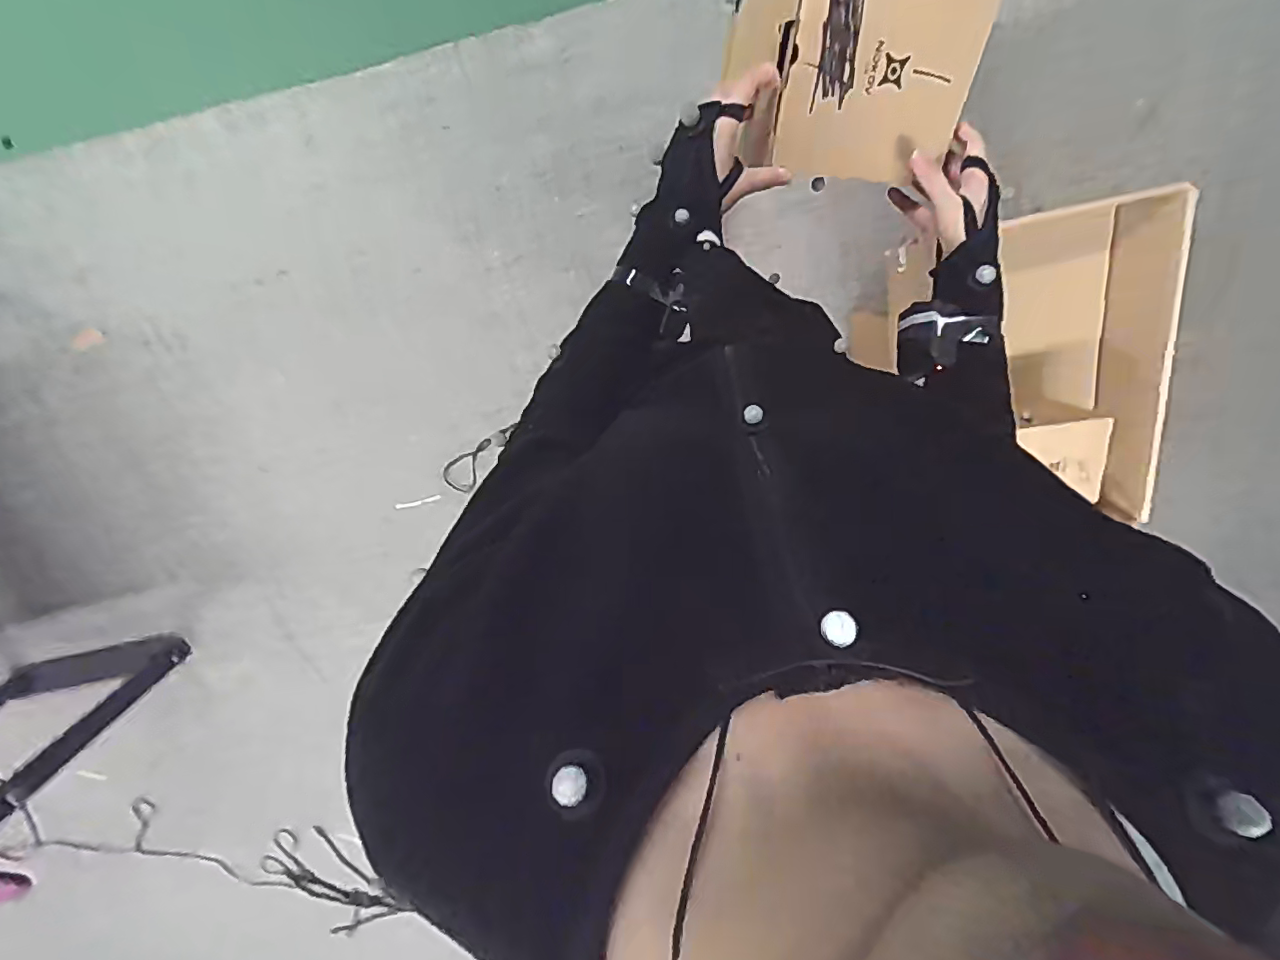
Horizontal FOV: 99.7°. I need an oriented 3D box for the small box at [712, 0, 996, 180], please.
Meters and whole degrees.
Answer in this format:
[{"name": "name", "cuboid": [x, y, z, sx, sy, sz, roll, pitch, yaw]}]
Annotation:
[{"name": "small box", "cuboid": [0.180, -0.386, 0.501, 0.179, 0.176, 0.168, -3, 125, -12]}]
